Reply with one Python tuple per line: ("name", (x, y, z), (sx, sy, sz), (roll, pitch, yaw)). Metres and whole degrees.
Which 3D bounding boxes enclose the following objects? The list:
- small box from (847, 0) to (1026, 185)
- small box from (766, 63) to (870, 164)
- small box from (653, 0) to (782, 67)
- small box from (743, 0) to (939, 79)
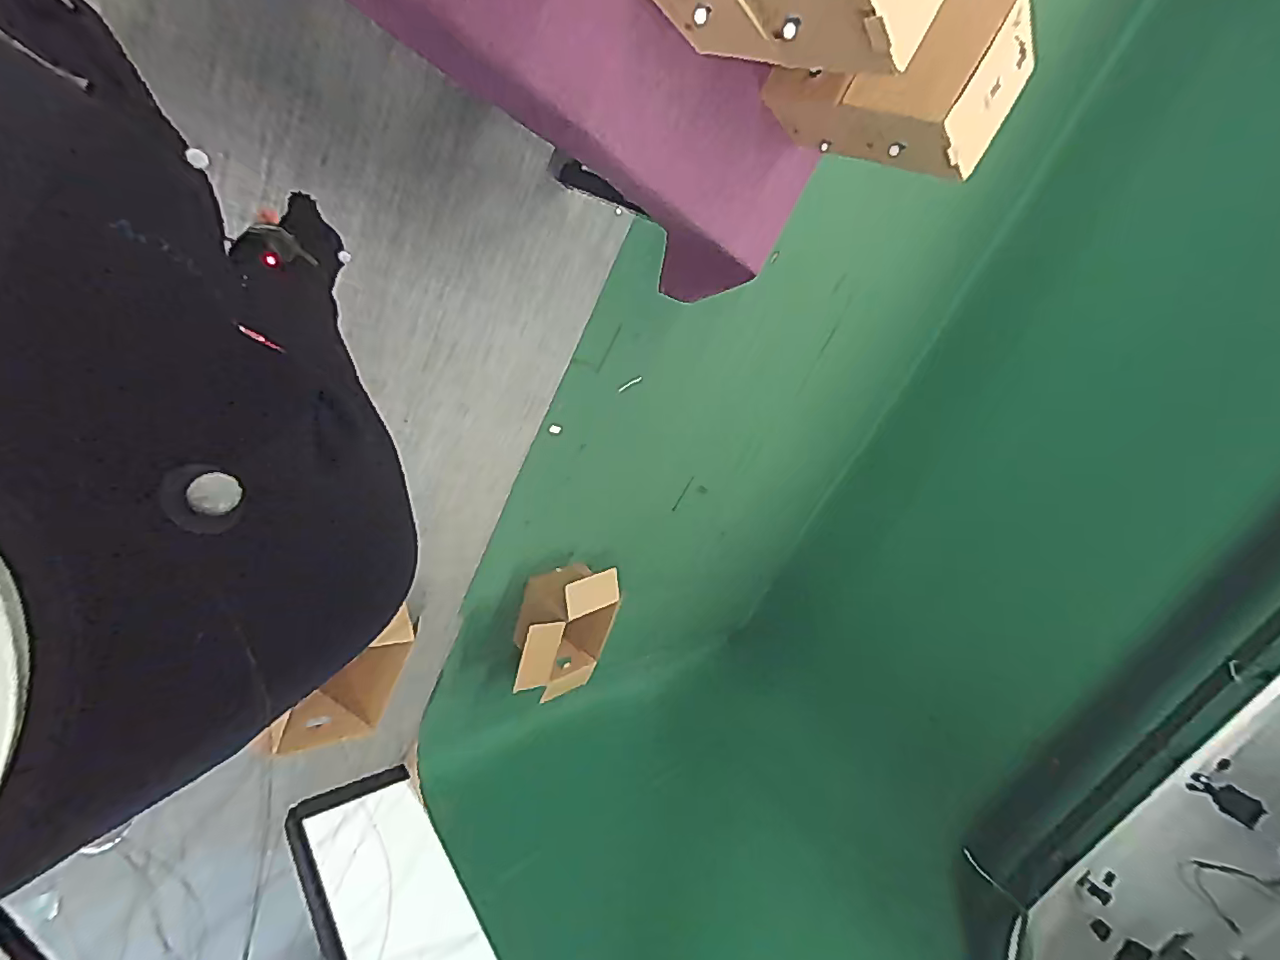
("small box", (0.438, -0.591, 0.817), (0.168, 0.176, 0.179), (7, 118, -52))
("small box", (0.338, -0.678, 0.912), (0.168, 0.176, 0.179), (8, 116, -52))
("small box", (0.120, -0.667, 0.677), (0.168, 0.176, 0.179), (4, 118, -50))
("small box", (0.230, -0.585, 0.585), (0.168, 0.176, 0.179), (9, 115, -51))
